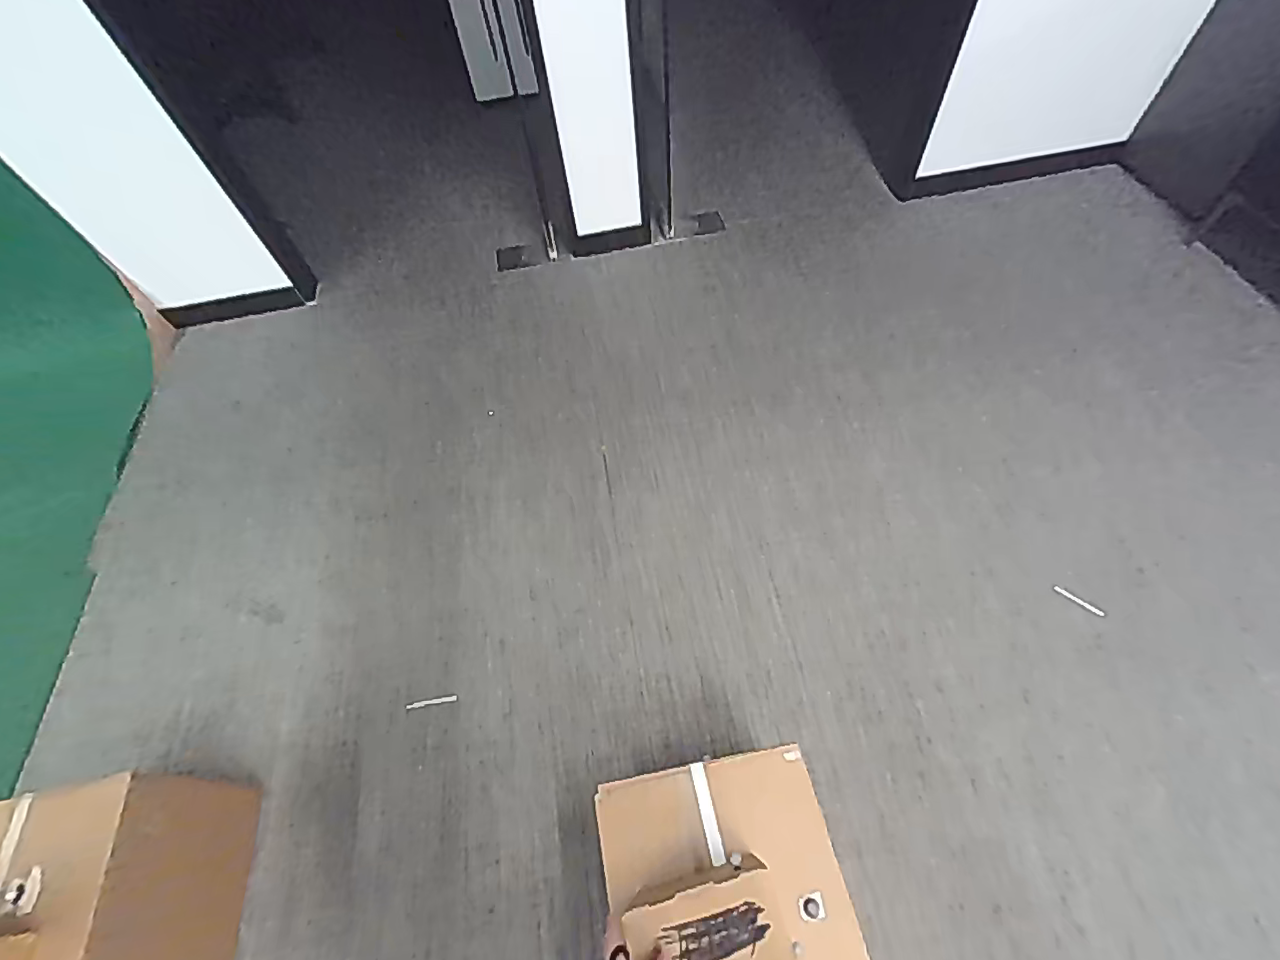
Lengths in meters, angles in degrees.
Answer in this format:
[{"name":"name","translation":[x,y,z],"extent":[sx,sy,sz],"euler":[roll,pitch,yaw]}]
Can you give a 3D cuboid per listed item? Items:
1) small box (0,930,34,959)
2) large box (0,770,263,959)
[{"name":"small box","translation":[-0.899,0.648,0.633],"extent":[0.168,0.176,0.179],"euler":[-3,59,4]},{"name":"large box","translation":[-0.883,0.731,0.866],"extent":[0.320,0.320,0.408],"euler":[-12,57,-2]}]
